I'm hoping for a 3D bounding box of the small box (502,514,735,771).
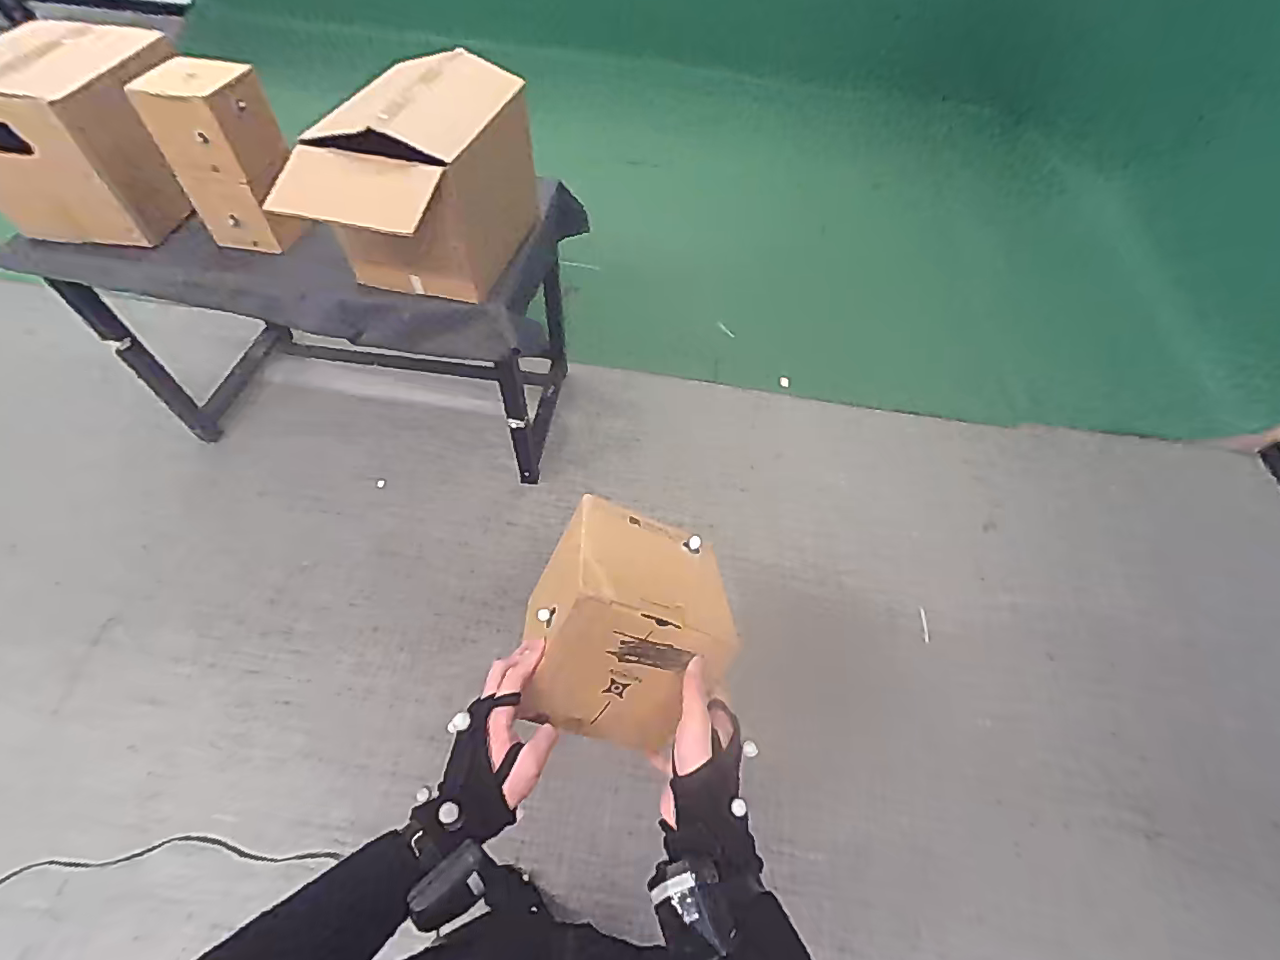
[{"bbox_3d":[-0.029,0.163,0.569,0.168,0.179,0.176,22,26,-15],"label":"small box"}]

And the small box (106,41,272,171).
[{"bbox_3d":[-0.911,-0.768,1.118,0.168,0.176,0.179,9,55,1],"label":"small box"}]
